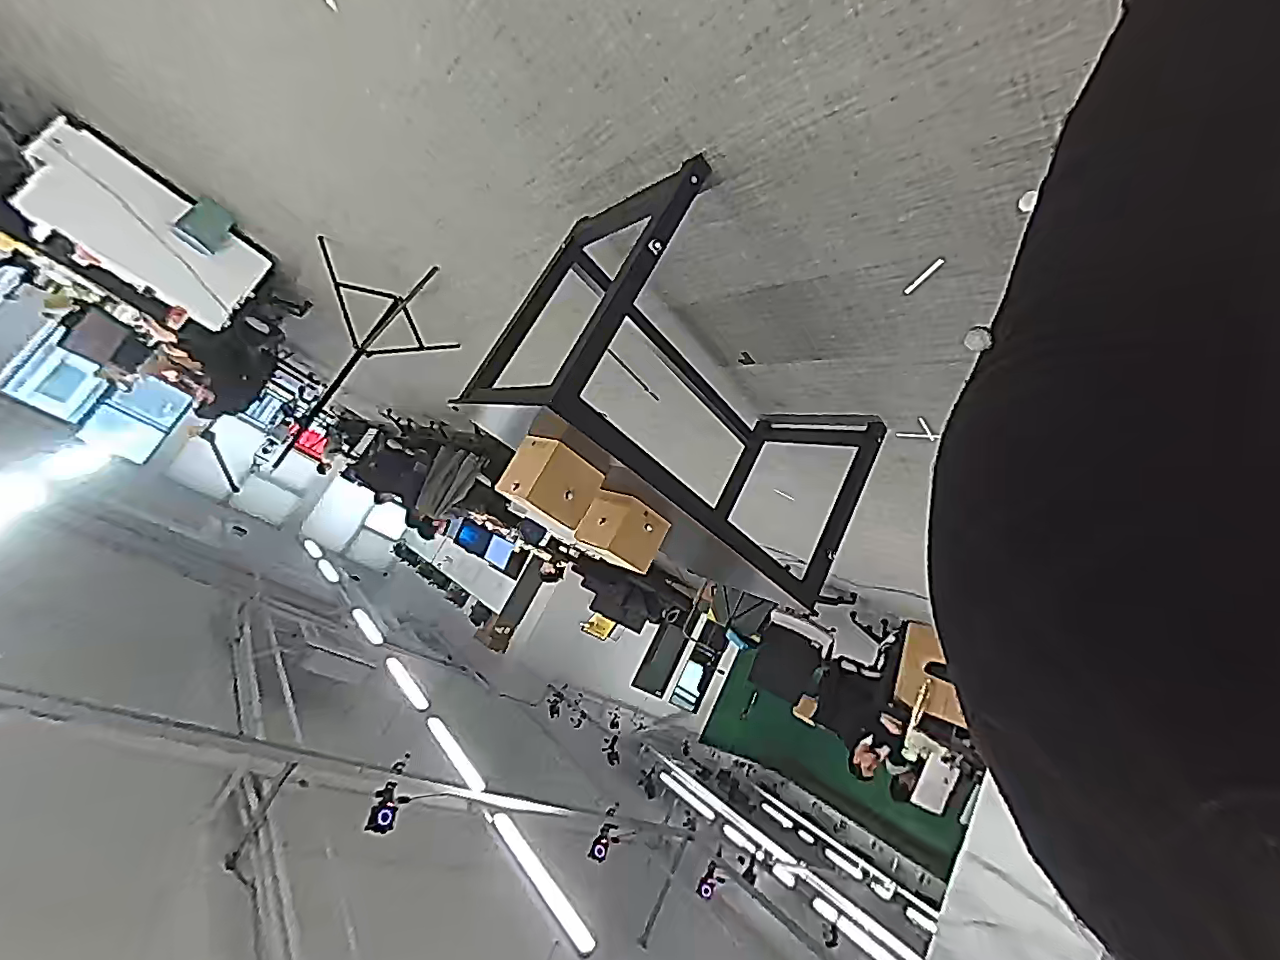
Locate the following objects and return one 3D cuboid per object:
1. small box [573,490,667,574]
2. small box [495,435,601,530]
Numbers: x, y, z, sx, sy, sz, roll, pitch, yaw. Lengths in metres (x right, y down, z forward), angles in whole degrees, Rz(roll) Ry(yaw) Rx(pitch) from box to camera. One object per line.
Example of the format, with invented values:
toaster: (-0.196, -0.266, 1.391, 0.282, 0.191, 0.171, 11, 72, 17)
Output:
small box: (-0.053, 0.143, 1.558, 0.168, 0.176, 0.179, 38, 163, -36)
small box: (-0.231, 0.003, 1.391, 0.168, 0.176, 0.179, 13, 161, 49)
